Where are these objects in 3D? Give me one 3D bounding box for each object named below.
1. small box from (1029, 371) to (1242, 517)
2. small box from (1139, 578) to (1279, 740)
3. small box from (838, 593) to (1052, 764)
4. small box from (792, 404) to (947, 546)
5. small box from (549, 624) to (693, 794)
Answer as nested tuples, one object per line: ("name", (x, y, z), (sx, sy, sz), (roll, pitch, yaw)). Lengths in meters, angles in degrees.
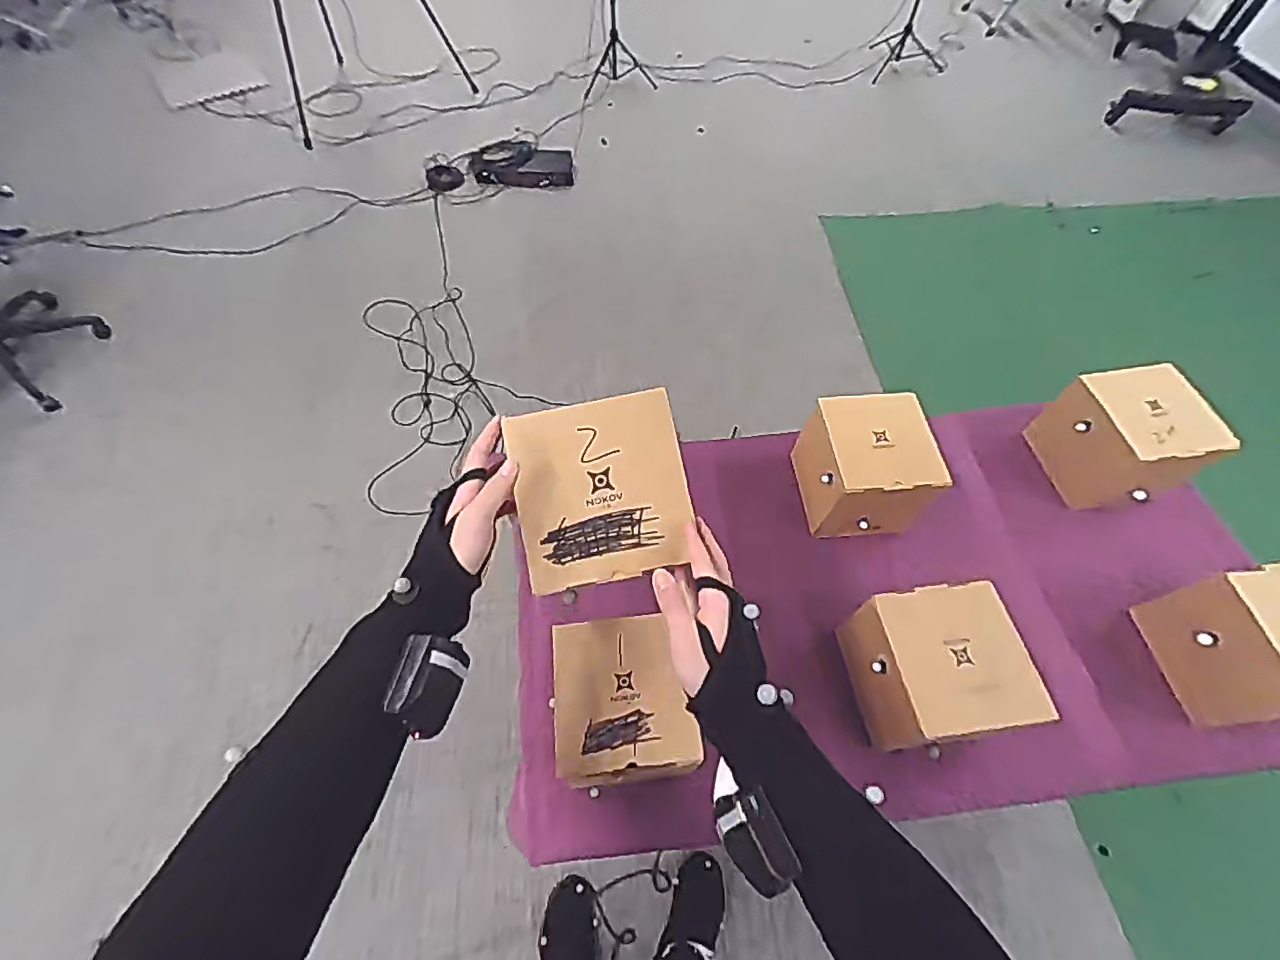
("small box", (0.820, -0.058, 0.922), (0.168, 0.176, 0.179), (-8, 60, -1))
("small box", (0.857, 0.245, 0.739), (0.168, 0.176, 0.179), (-6, 59, -1))
("small box", (0.389, 0.272, 0.733), (0.168, 0.176, 0.179), (-6, 58, -2))
("small box", (0.366, -0.006, 0.904), (0.168, 0.176, 0.179), (-4, 61, -2))
("small box", (-0.026, 0.308, 0.715), (0.168, 0.176, 0.179), (-6, 57, -3))
